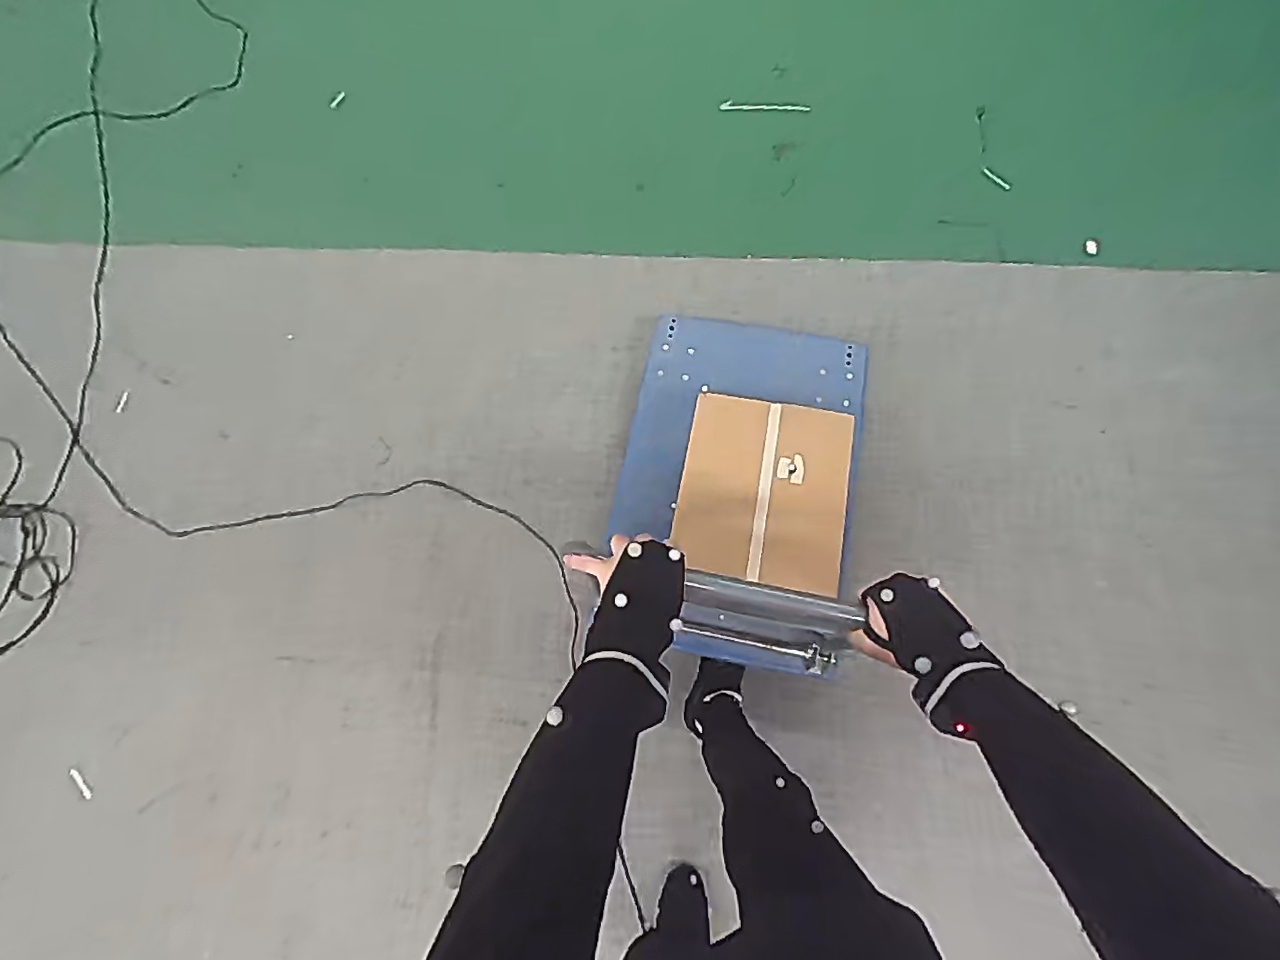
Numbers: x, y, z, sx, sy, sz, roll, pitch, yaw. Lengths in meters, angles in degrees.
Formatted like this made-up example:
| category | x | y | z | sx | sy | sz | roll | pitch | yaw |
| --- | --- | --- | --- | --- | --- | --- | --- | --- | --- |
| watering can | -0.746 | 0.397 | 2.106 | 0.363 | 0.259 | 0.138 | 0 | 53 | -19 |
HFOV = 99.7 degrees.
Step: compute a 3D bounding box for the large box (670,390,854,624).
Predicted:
| category | x | y | z | sx | sy | sz | roll | pitch | yaw |
| --- | --- | --- | --- | --- | --- | --- | --- | --- | --- |
| large box | 0.247 | 0.072 | 1.161 | 0.320 | 0.320 | 0.408 | 10 | 72 | 6 |
